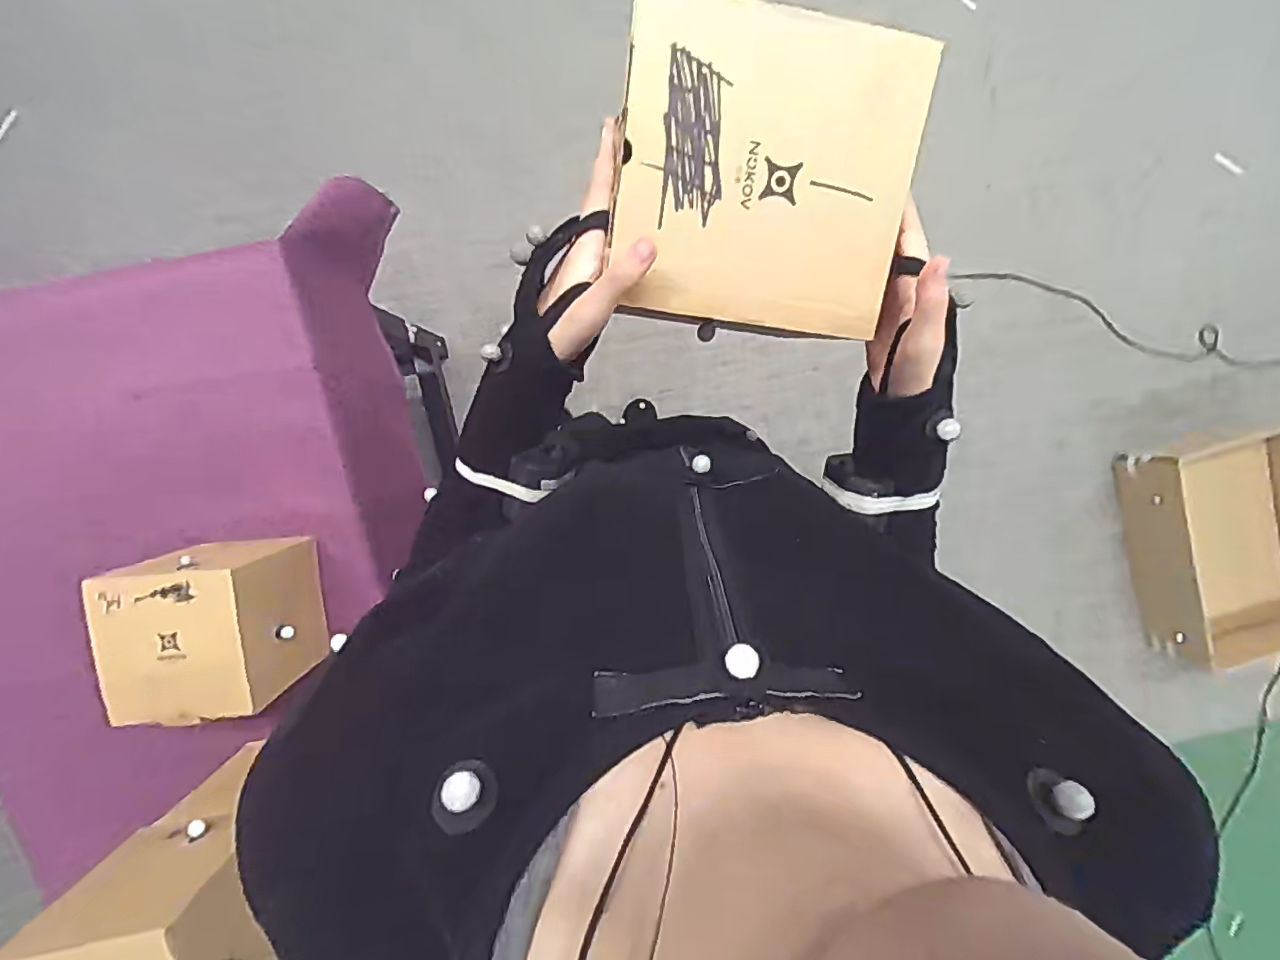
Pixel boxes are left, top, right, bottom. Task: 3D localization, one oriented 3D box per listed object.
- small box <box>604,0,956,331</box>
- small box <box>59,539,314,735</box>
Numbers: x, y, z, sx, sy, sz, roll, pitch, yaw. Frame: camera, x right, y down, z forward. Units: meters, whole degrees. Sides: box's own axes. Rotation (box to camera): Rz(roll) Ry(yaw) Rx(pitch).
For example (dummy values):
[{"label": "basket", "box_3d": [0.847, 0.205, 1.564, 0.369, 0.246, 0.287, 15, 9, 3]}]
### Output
[{"label": "small box", "box_3d": [0.070, -0.201, 0.383, 0.179, 0.176, 0.168, 7, 105, -8]}, {"label": "small box", "box_3d": [-0.533, 0.181, 0.667, 0.168, 0.176, 0.179, -4, 97, -3]}]
